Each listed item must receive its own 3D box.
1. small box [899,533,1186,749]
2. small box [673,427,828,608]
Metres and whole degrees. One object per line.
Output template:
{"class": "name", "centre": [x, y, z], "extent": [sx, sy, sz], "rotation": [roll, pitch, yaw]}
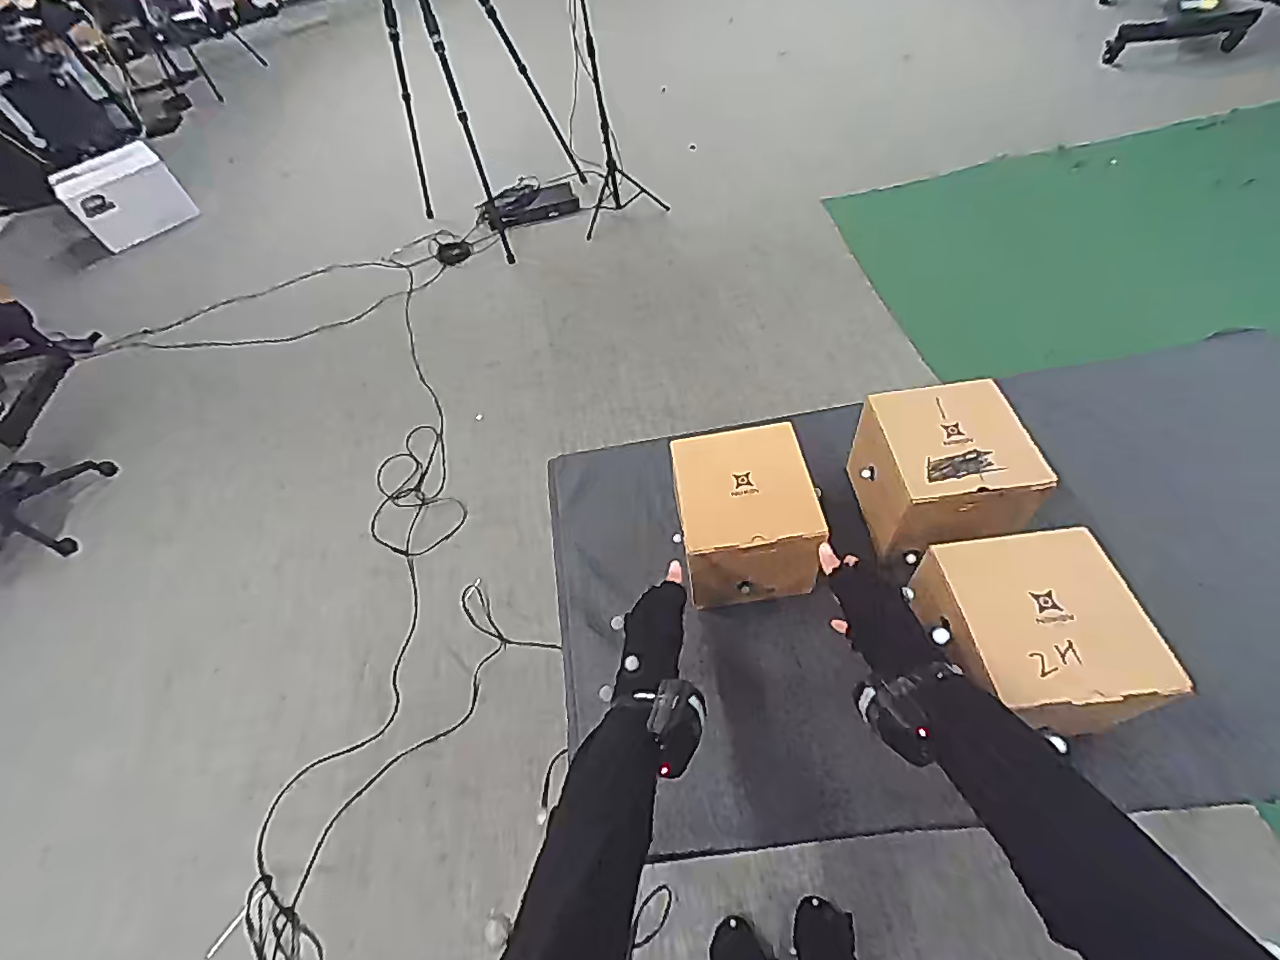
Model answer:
{"class": "small box", "centre": [0.413, 0.182, 0.601], "extent": [0.168, 0.176, 0.179], "rotation": [-8, 53, 4]}
{"class": "small box", "centre": [0.140, 0.055, 0.741], "extent": [0.168, 0.176, 0.179], "rotation": [-9, 55, 3]}
